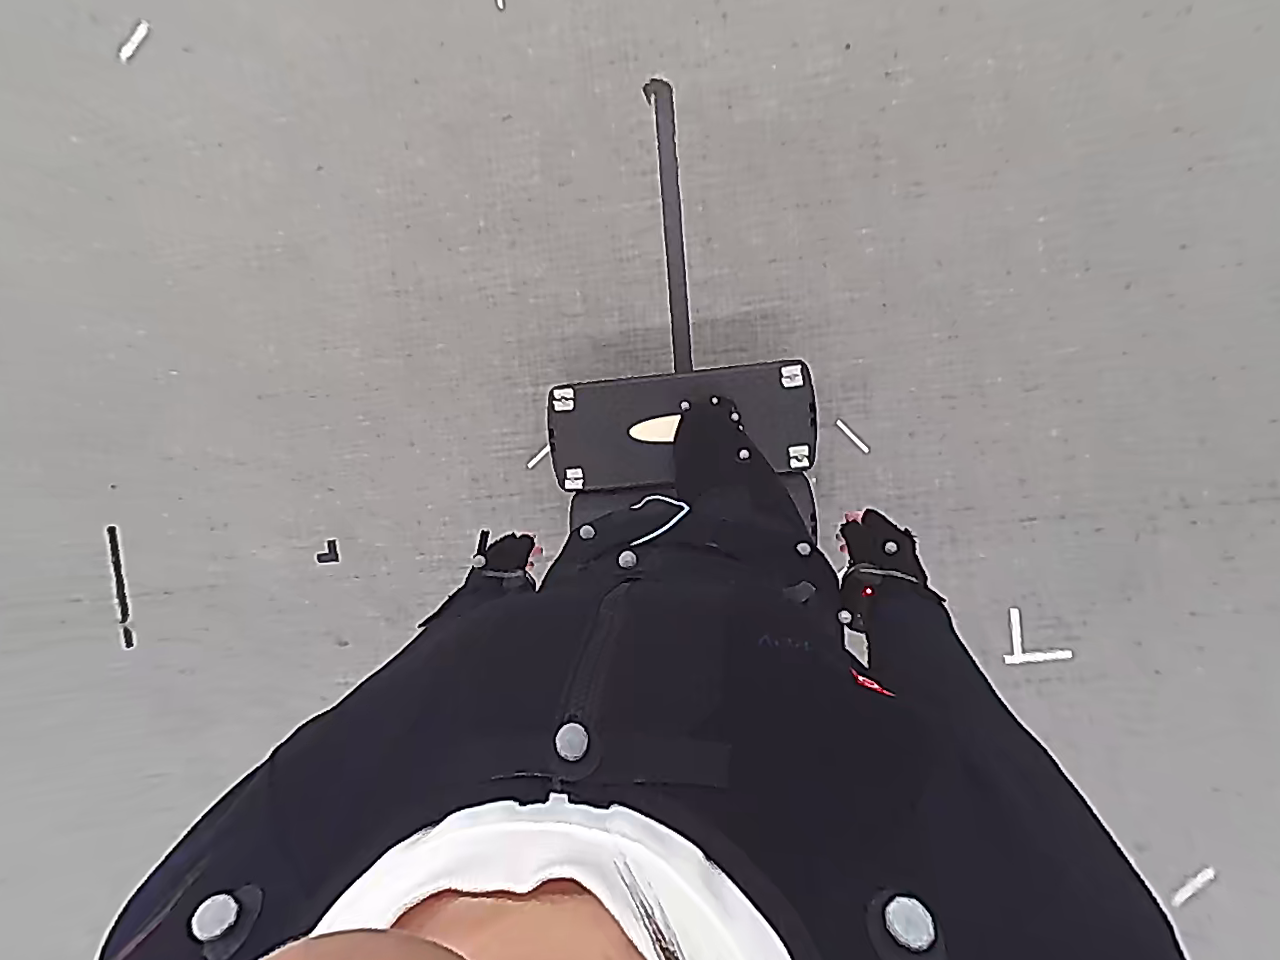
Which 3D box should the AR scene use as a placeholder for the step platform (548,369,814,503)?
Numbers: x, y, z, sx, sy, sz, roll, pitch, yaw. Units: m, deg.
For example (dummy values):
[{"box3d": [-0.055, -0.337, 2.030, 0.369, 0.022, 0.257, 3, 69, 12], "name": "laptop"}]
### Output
[{"box3d": [0.102, -0.114, 1.432, 0.684, 0.204, 0.286, -6, 96, 5], "name": "step platform"}]
